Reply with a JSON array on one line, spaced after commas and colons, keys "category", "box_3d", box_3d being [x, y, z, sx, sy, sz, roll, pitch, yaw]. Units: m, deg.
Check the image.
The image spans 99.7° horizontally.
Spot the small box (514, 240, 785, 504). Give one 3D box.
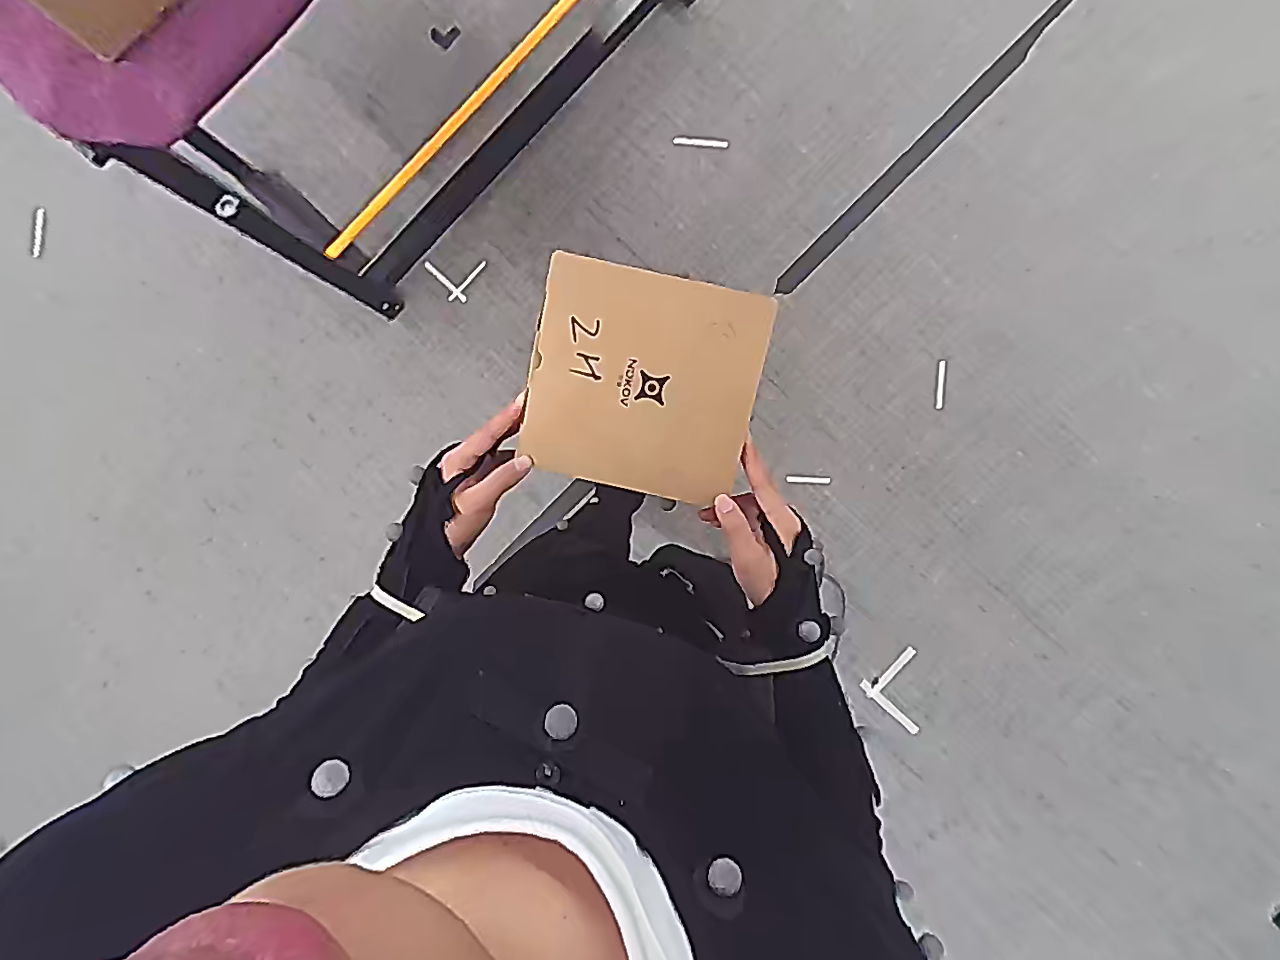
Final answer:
[{"category": "small box", "box_3d": [0.009, -0.090, 0.484, 0.179, 0.176, 0.168, 13, 98, 2]}]
